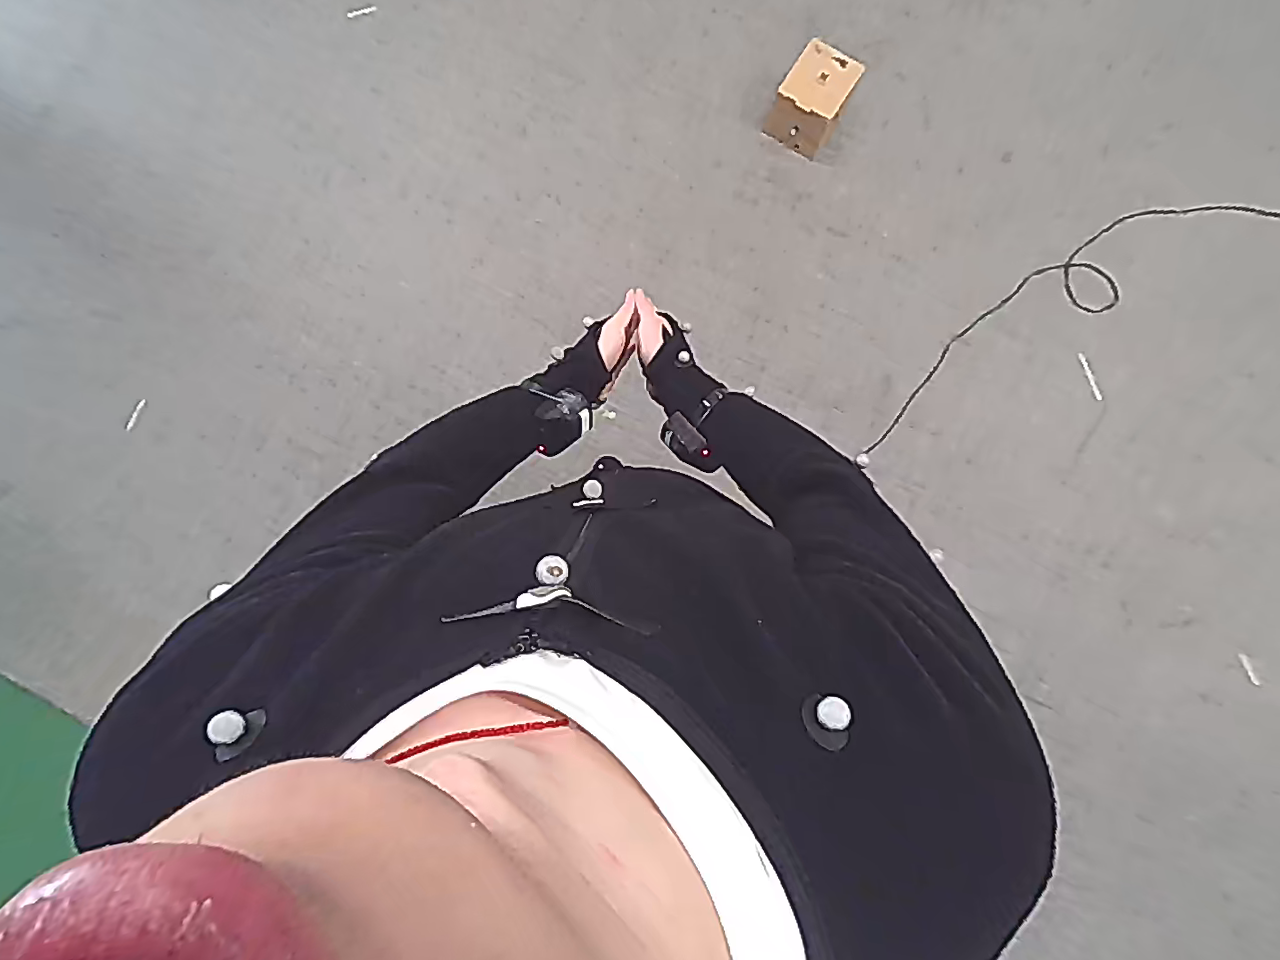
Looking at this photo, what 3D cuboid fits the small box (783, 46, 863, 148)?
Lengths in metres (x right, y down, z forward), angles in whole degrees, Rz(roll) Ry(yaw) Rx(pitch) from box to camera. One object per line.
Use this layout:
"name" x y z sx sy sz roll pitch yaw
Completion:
"small box" 0.500 -1.054 1.499 0.179 0.176 0.168 4 86 5
